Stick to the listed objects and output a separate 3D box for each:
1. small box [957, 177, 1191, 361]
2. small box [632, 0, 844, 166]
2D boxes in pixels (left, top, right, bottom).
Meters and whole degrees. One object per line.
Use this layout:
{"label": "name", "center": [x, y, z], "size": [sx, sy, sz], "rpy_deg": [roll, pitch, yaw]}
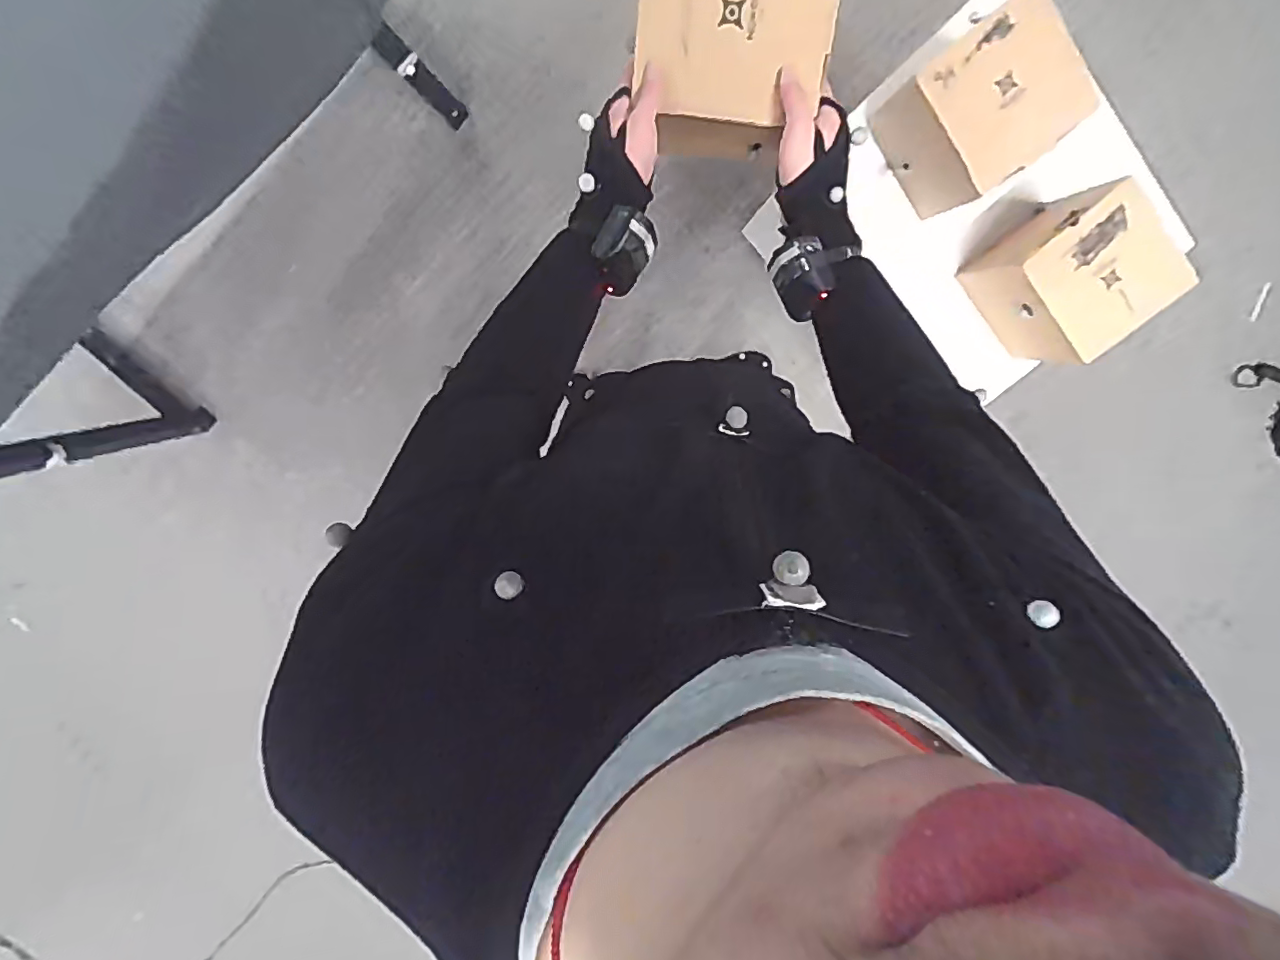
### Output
{"label": "small box", "center": [0.615, -0.294, 0.792], "size": [0.168, 0.176, 0.179], "rpy_deg": [-41, 102, 10]}
{"label": "small box", "center": [0.084, -0.424, 0.534], "size": [0.179, 0.176, 0.168], "rpy_deg": [3, 108, -1]}
